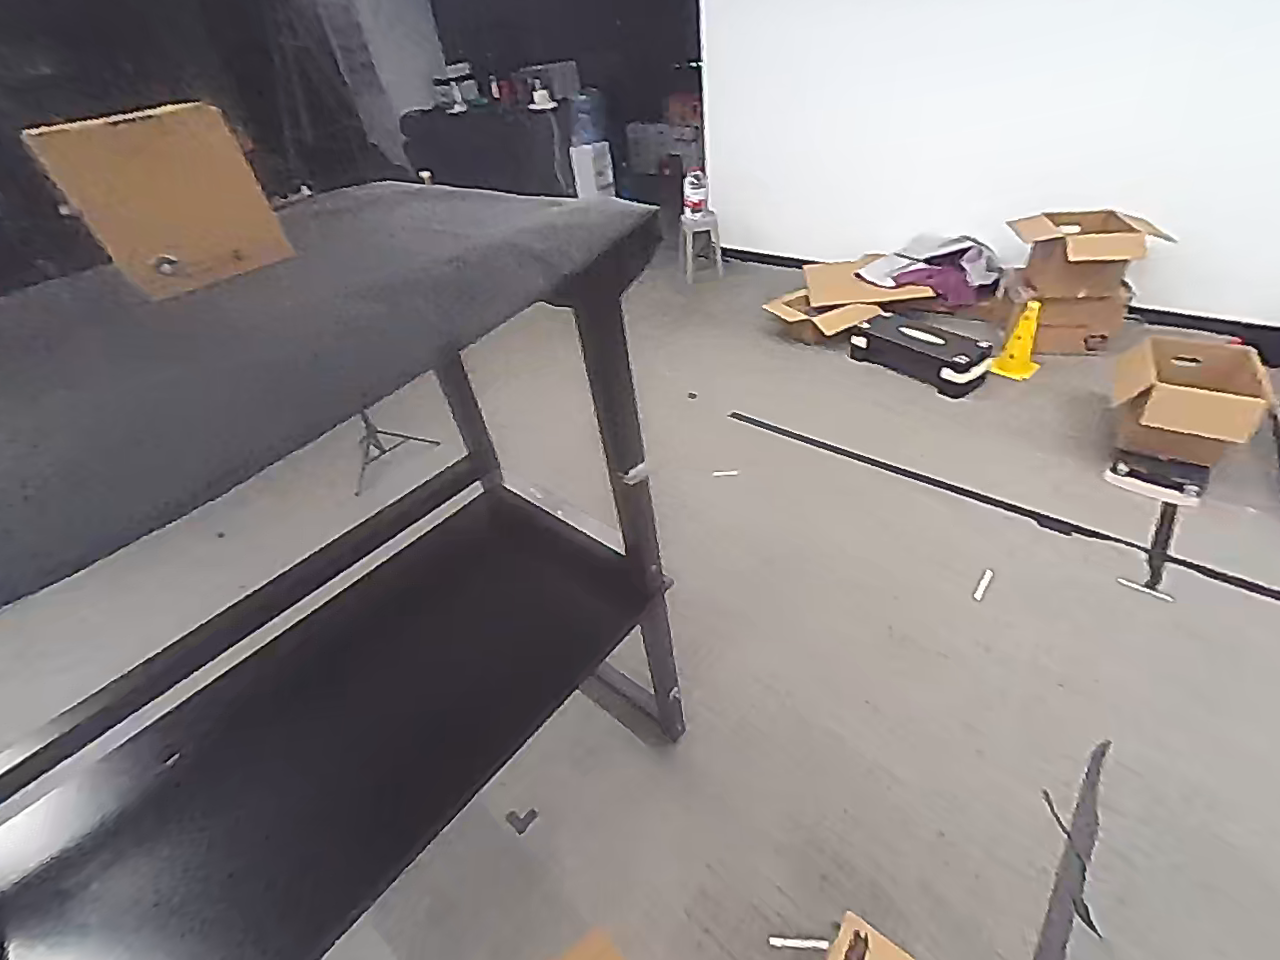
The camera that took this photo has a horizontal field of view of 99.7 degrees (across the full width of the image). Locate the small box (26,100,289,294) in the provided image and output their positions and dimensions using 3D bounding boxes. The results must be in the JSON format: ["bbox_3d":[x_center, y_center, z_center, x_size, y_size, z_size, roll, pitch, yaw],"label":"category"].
[{"bbox_3d":[-0.568,-0.341,0.654,0.179,0.176,0.168,28,52,36],"label":"small box"}]
